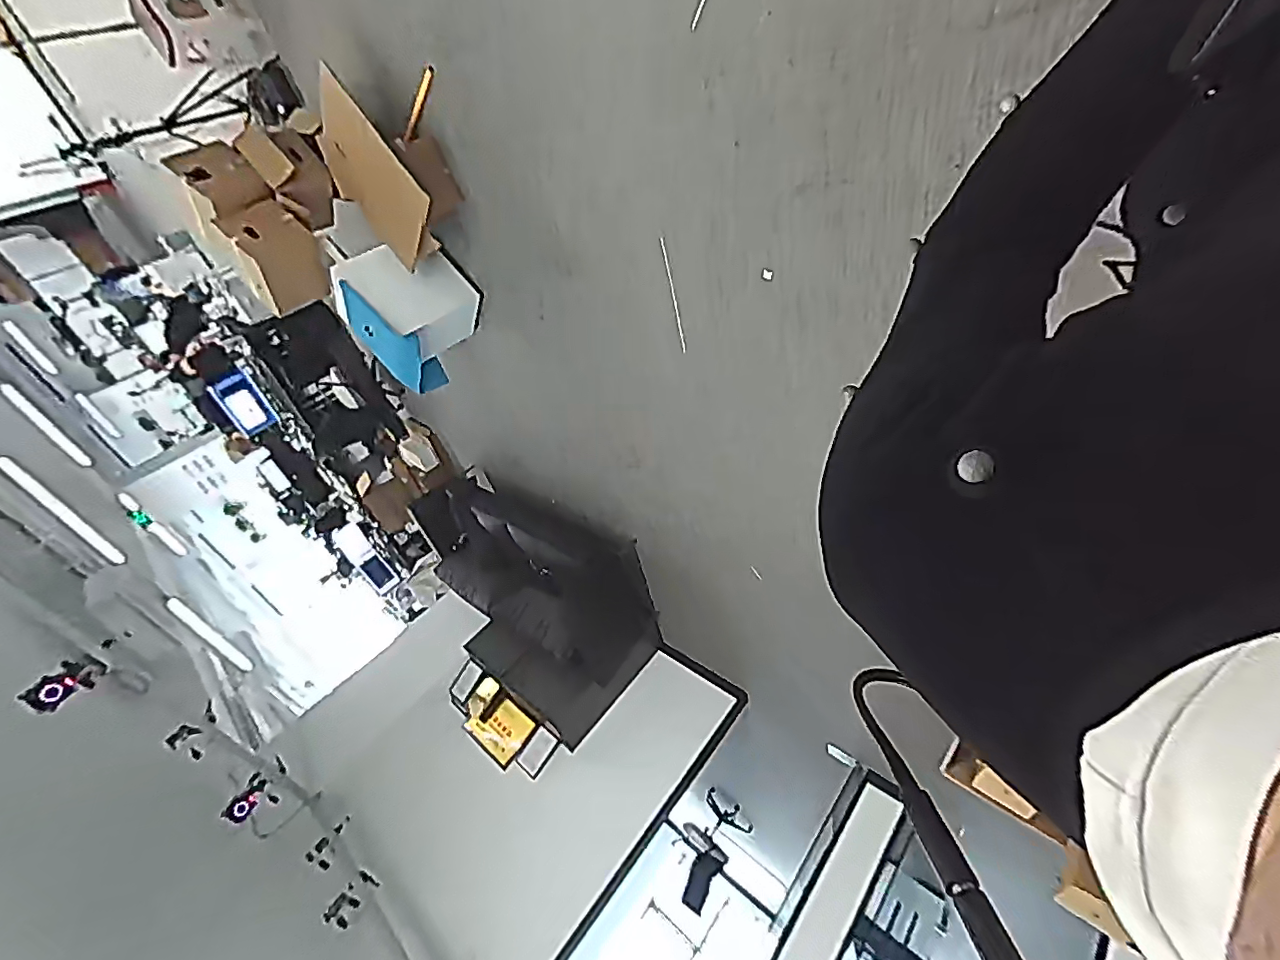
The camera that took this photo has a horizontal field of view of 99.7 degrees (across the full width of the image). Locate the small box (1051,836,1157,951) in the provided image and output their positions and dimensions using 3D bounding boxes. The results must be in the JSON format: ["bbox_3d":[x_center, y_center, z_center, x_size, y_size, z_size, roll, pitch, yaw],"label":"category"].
[{"bbox_3d":[1.277,1.132,1.487,0.168,0.176,0.179,24,142,35],"label":"small box"}]

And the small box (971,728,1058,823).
[{"bbox_3d":[1.184,0.931,1.709,0.168,0.176,0.179,26,142,34],"label":"small box"}]
